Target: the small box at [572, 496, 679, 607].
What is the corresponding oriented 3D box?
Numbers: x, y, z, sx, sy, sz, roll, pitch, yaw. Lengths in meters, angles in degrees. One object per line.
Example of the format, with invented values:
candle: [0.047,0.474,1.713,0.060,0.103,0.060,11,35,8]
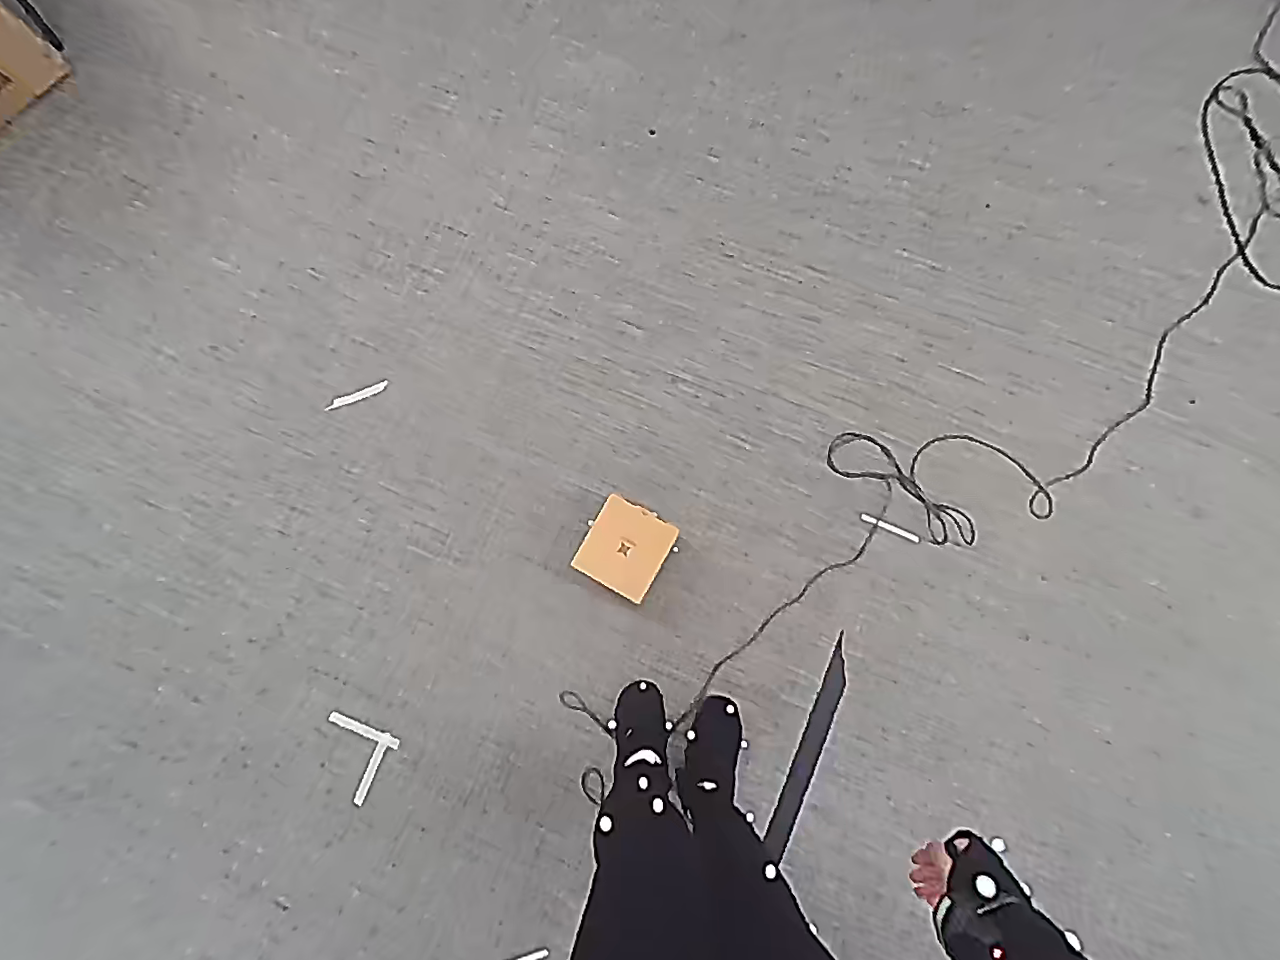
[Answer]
small box: [-0.024,0.158,1.180,0.168,0.176,0.179,28,82,7]
